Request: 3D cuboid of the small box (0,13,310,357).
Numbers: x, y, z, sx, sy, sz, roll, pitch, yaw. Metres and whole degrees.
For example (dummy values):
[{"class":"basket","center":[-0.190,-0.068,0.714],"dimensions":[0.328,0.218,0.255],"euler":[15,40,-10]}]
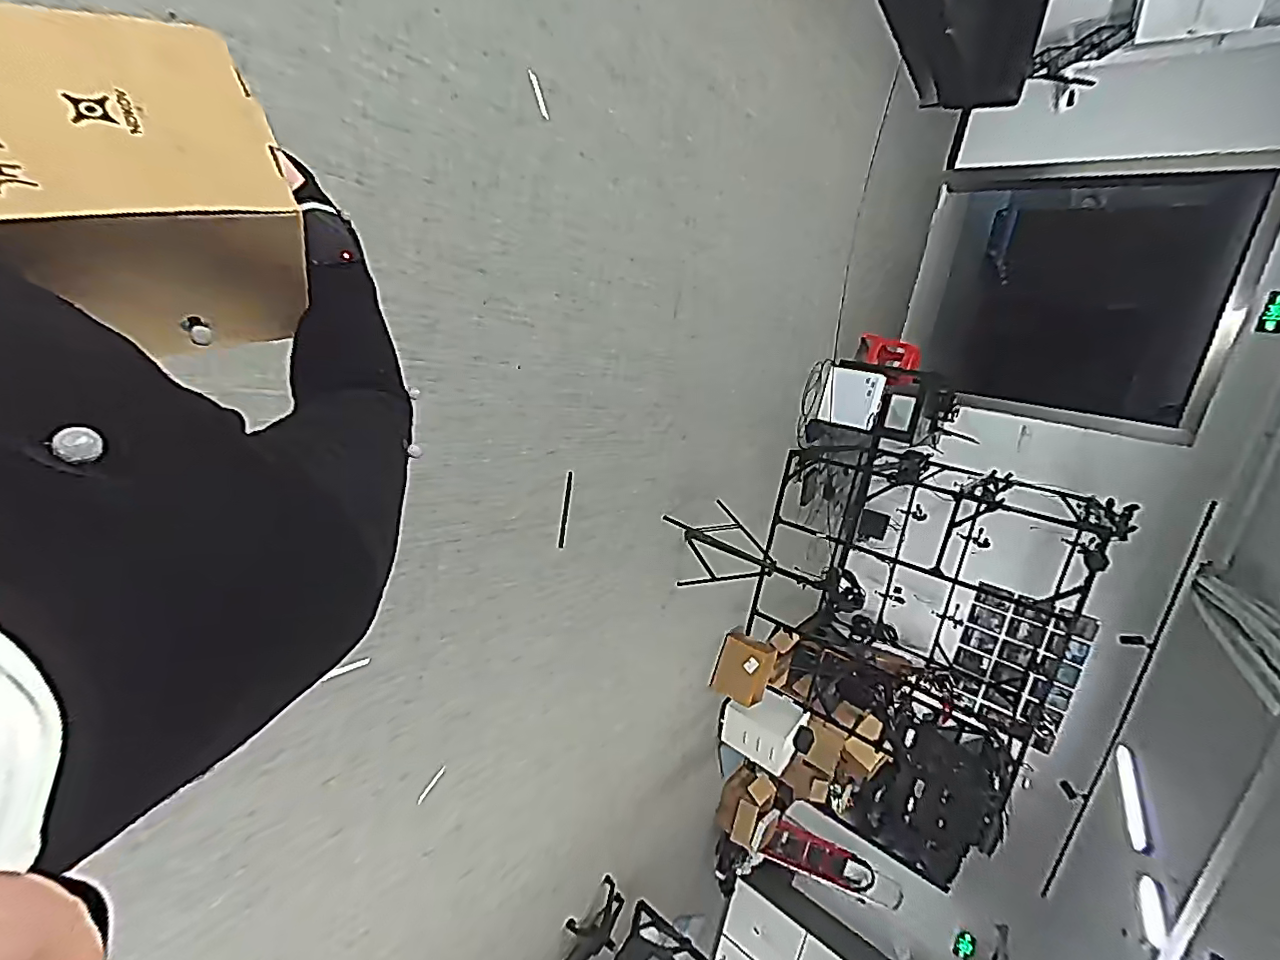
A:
[{"class":"small box","center":[-0.394,-0.223,0.443],"dimensions":[0.179,0.176,0.168],"euler":[-22,82,-34]}]
